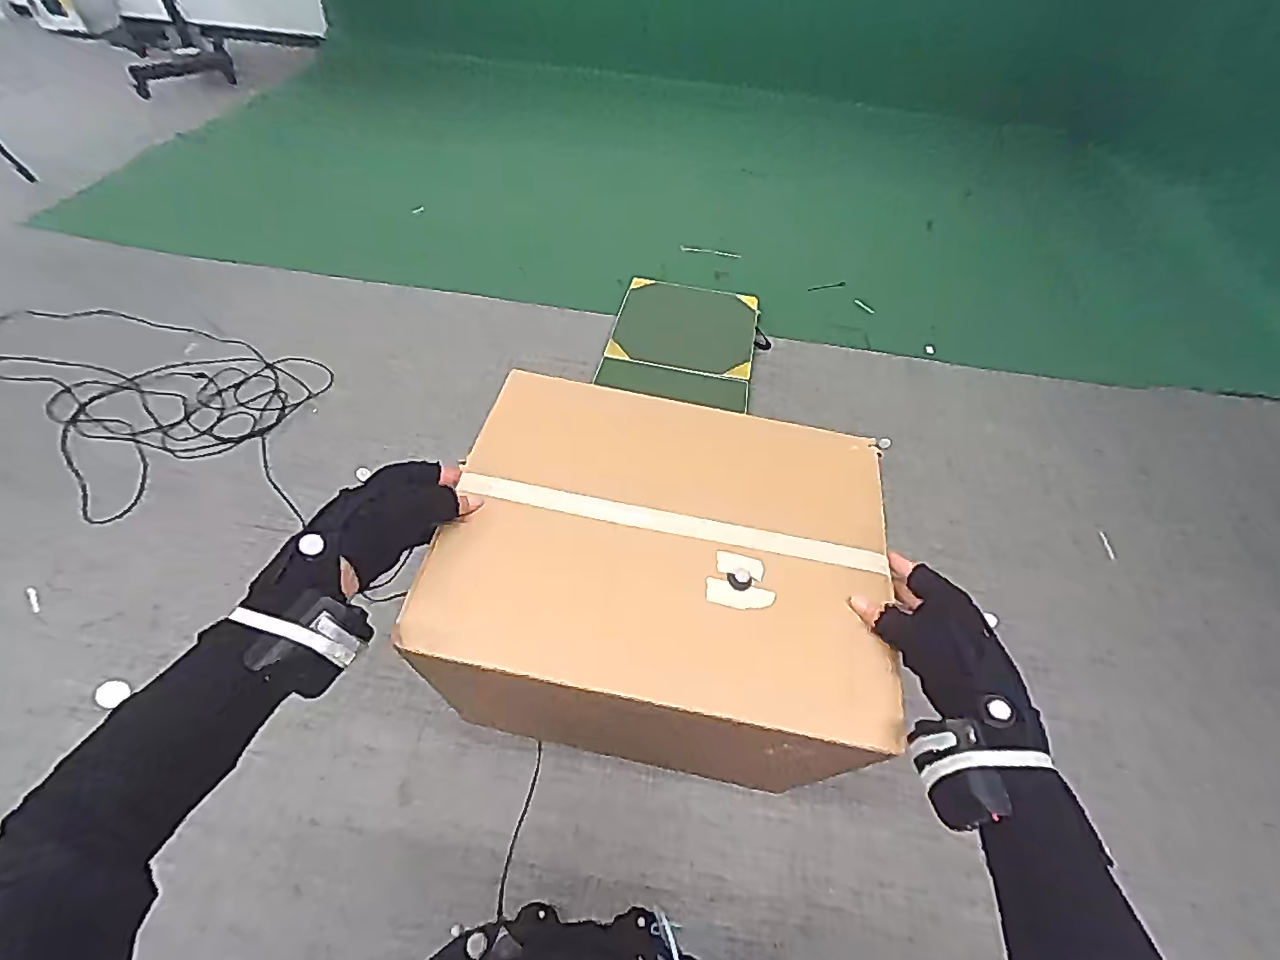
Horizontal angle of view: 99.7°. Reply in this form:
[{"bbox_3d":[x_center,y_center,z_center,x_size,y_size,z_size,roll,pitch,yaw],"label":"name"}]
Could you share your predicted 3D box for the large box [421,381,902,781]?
[{"bbox_3d":[0.023,0.131,0.637,0.408,0.320,0.320,12,56,1],"label":"large box"}]
